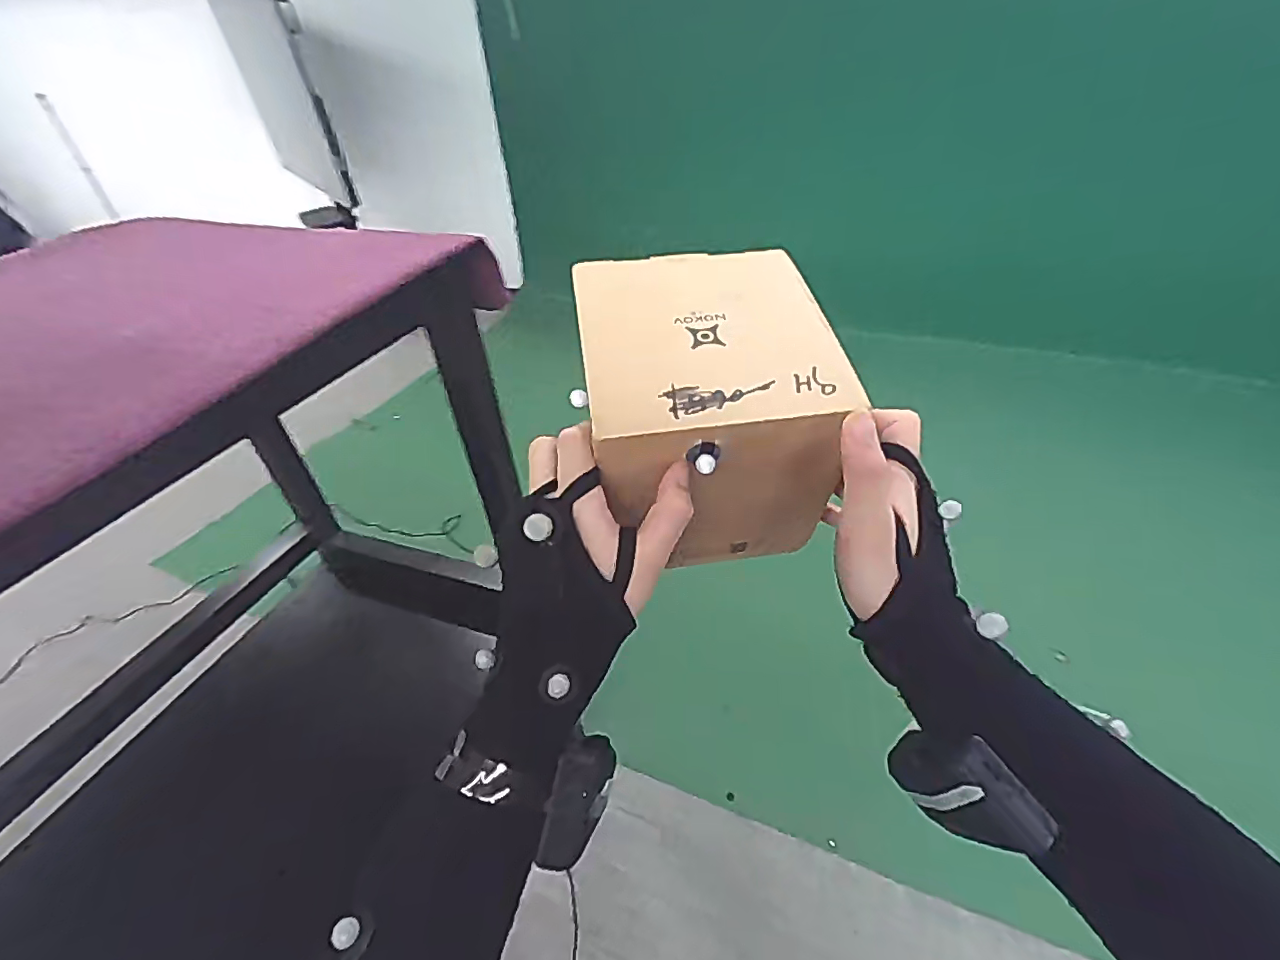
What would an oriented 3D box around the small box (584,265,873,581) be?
[{"bbox_3d":[0.047,-0.042,0.425,0.168,0.176,0.179,-6,53,-4],"label":"small box"}]
